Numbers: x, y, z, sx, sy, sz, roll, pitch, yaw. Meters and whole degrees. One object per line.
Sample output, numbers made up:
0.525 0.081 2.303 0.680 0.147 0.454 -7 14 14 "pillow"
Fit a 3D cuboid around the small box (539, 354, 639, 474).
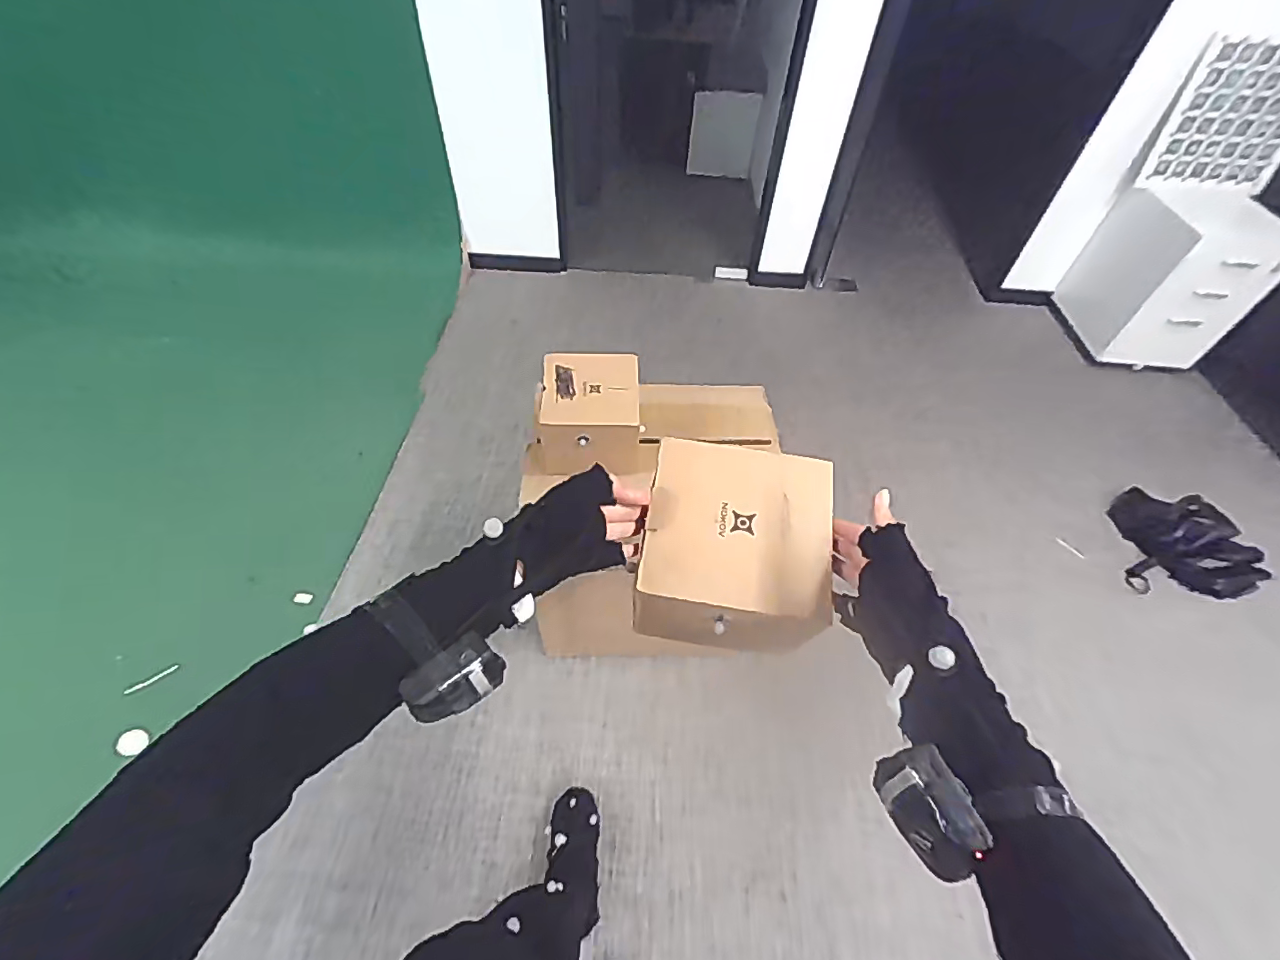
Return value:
-0.093 -0.122 1.039 0.179 0.176 0.168 1 60 -4 "small box"
